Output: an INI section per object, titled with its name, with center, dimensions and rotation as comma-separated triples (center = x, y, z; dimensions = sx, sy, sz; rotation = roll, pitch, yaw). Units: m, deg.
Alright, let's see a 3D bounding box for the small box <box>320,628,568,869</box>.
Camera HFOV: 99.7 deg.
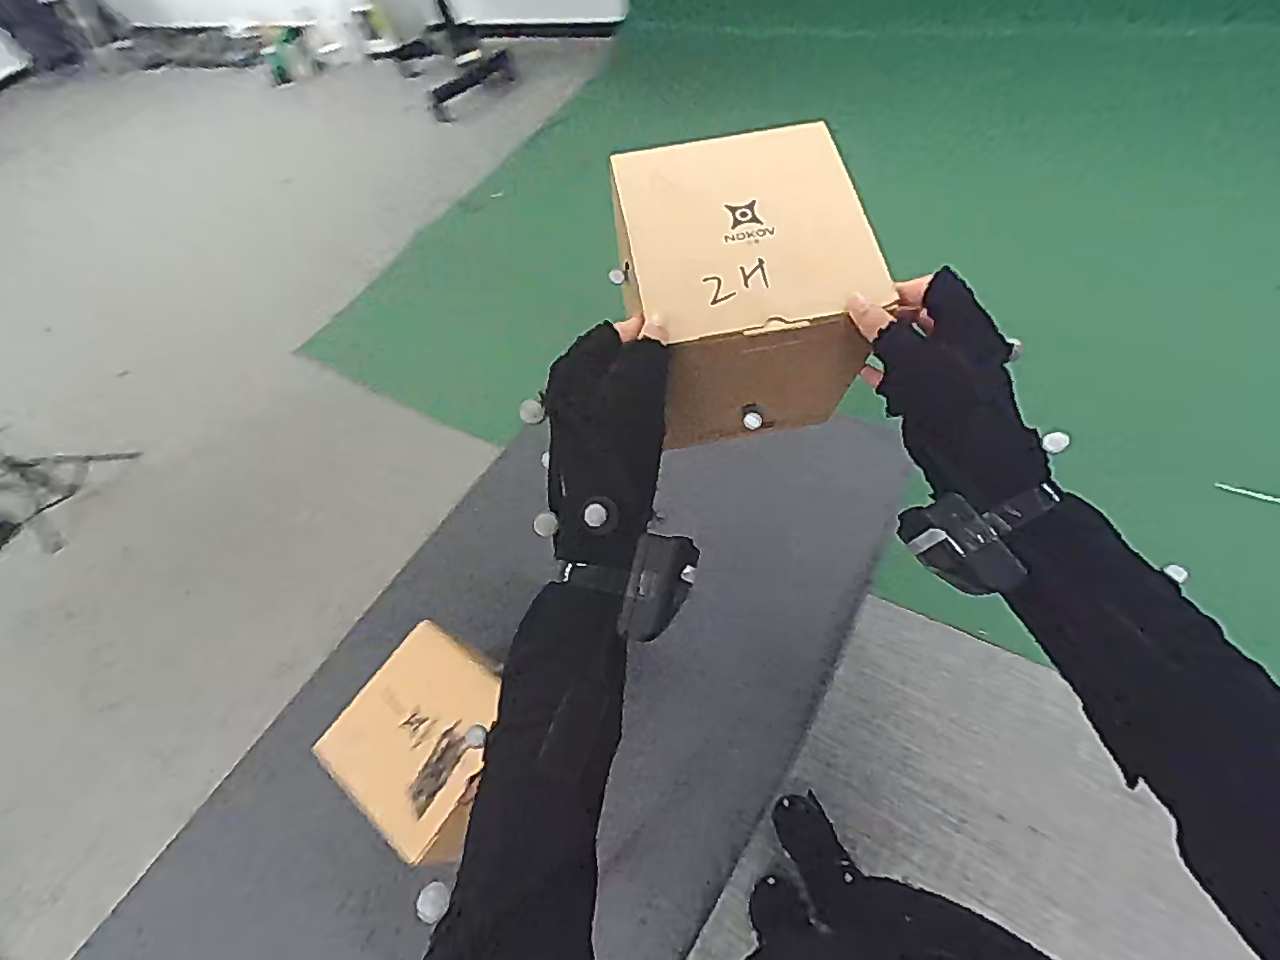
[small box]
center = -0.211, 0.306, 0.629
dimensions = 0.179, 0.176, 0.168
rotation = 27, 67, 27
